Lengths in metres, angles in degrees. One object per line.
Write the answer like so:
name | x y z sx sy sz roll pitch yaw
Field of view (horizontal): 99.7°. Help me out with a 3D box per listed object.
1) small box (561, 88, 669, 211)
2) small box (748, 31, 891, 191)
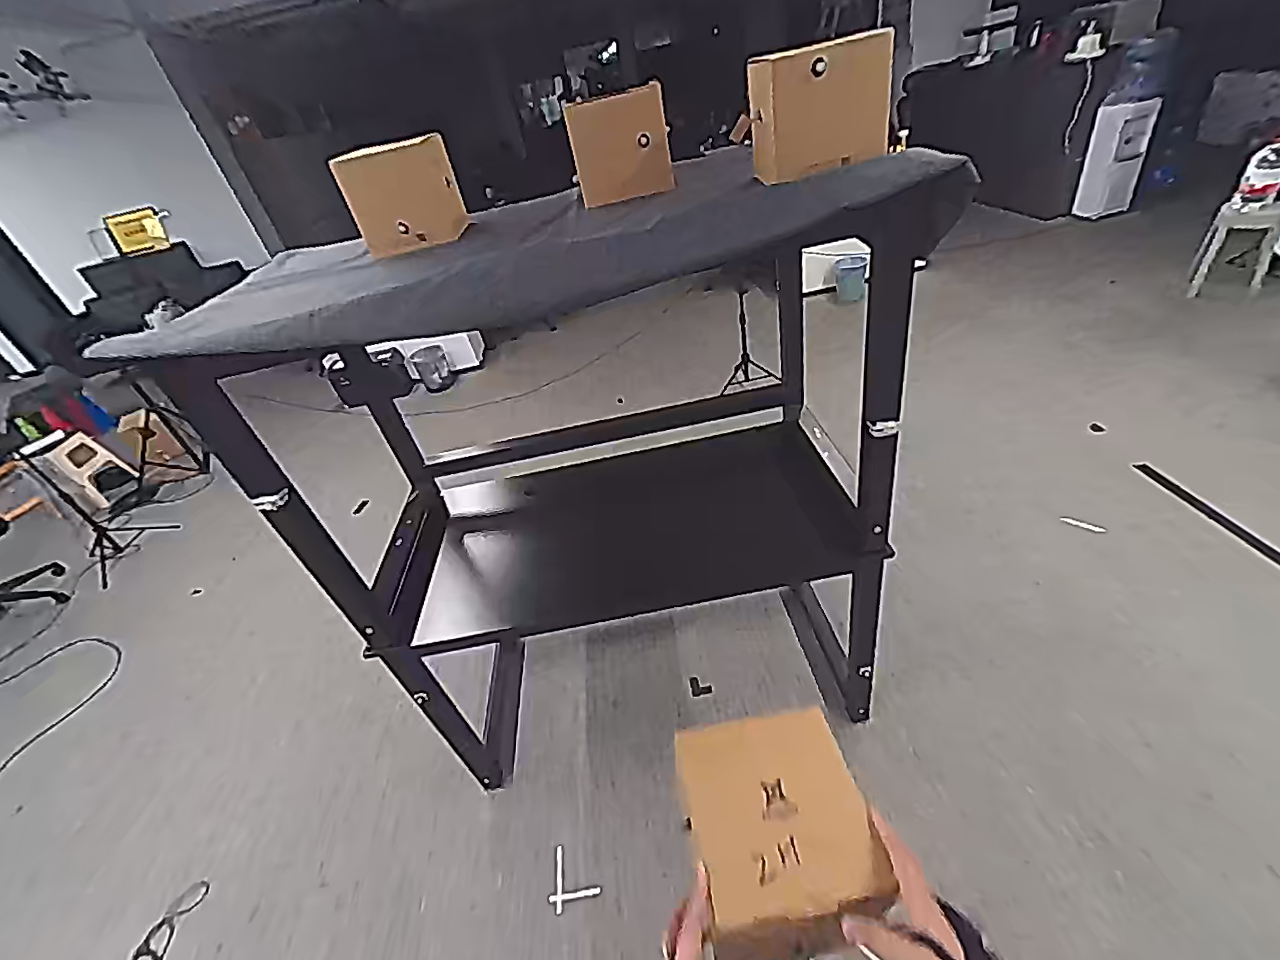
small box | -0.041 -0.637 1.041 0.179 0.176 0.168 -10 35 4
small box | 0.266 -0.559 0.833 0.168 0.176 0.179 -10 35 6
